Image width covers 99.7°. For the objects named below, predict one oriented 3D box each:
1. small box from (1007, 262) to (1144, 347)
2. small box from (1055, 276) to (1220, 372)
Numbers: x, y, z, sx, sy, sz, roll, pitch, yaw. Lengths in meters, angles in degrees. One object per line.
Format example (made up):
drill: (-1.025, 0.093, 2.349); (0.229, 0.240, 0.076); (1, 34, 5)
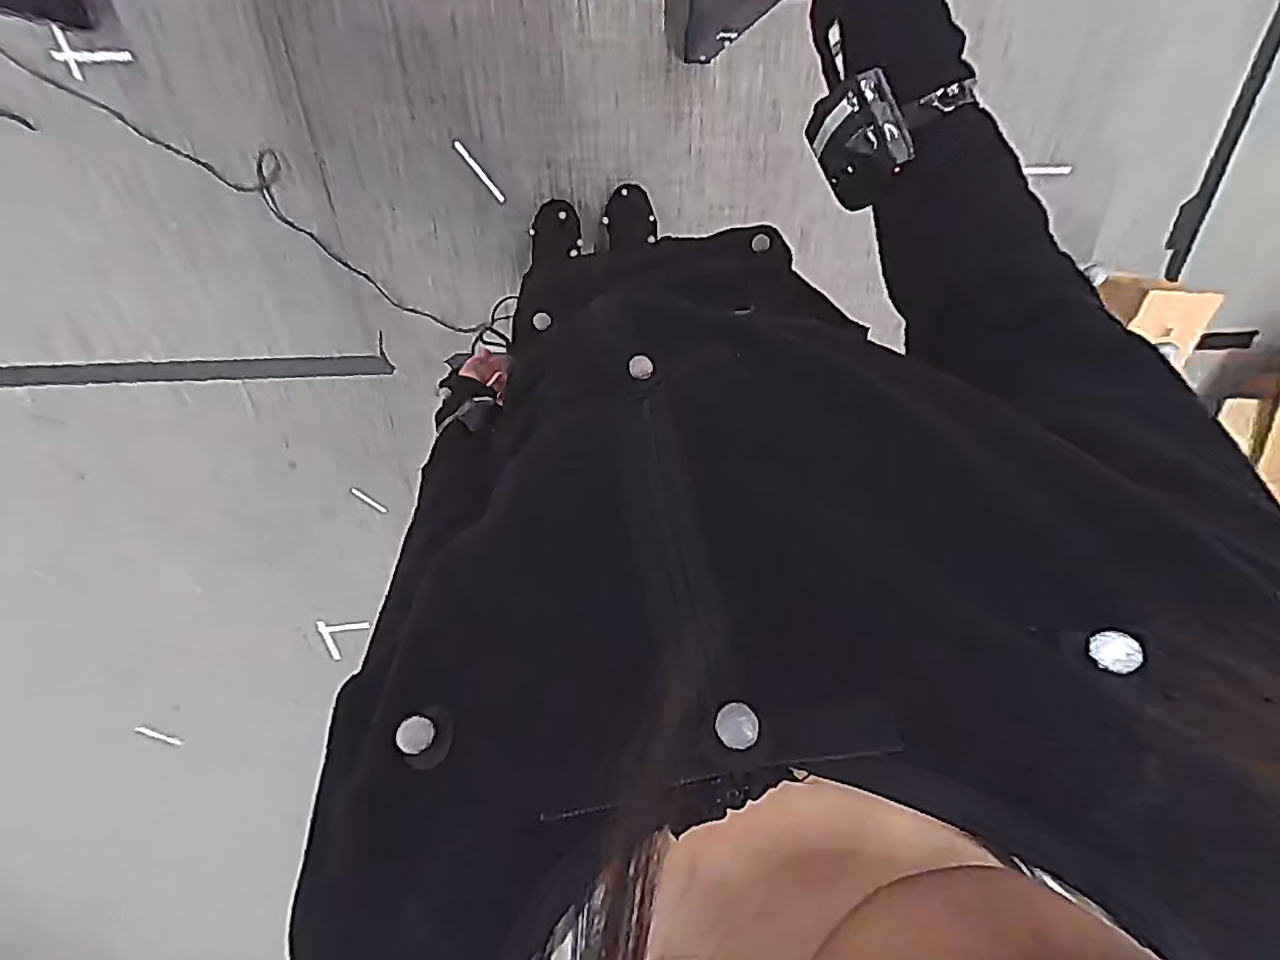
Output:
small box: (1.056, -0.432, 1.331); (0.168, 0.176, 0.179); (2, 120, -8)
small box: (1.079, -0.347, 1.194); (0.179, 0.176, 0.168); (0, 122, -8)
